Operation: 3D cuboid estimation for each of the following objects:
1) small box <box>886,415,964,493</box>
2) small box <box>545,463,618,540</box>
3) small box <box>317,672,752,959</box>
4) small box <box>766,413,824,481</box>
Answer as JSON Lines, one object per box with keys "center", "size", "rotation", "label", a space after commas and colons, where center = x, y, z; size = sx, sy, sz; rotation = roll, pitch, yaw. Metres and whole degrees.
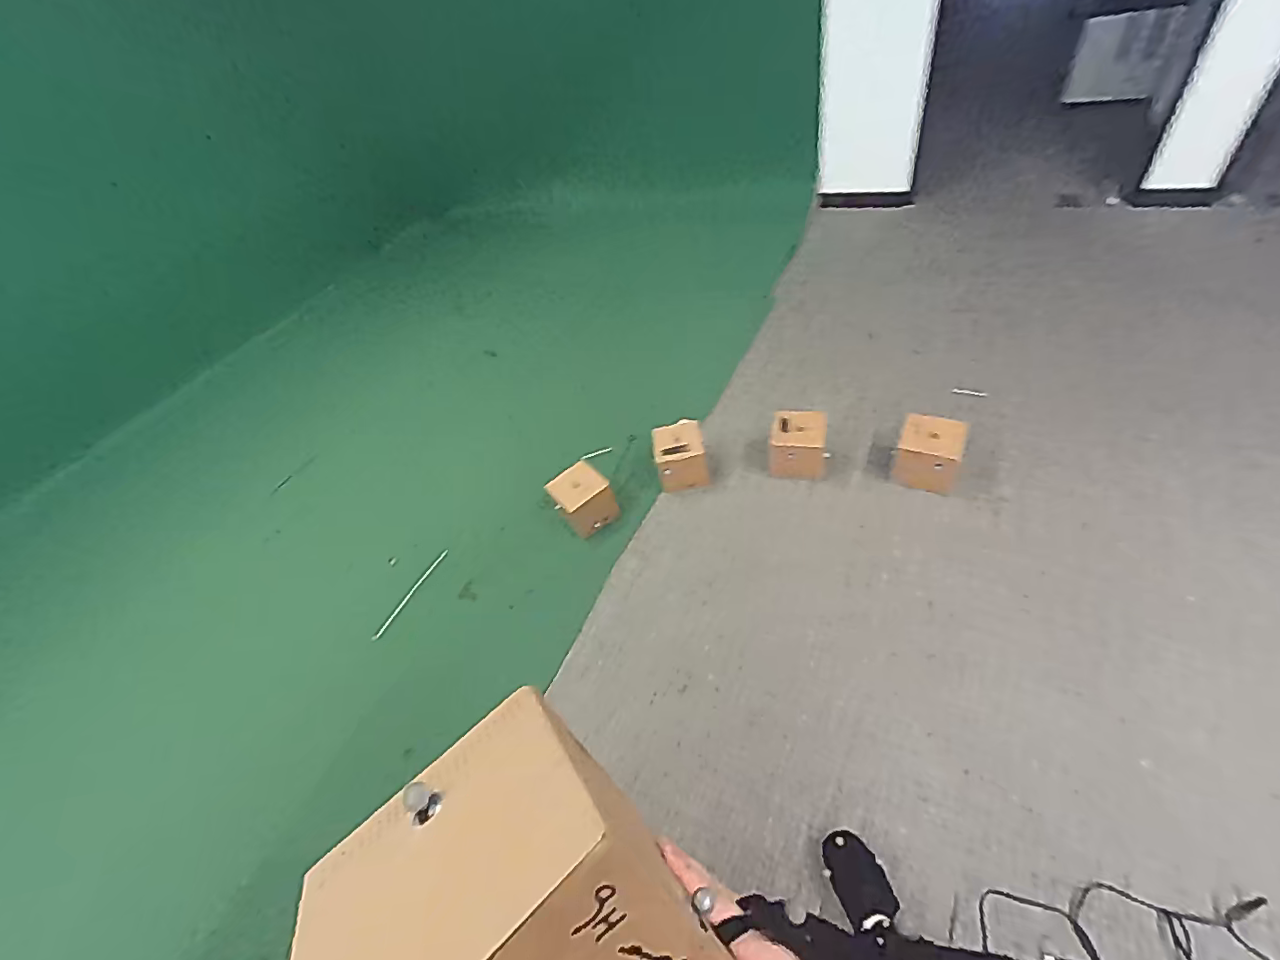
{"center": [0.910, -0.081, 1.735], "size": [0.179, 0.176, 0.168], "rotation": [15, 54, 27], "label": "small box"}
{"center": [-0.205, 0.080, 1.912], "size": [0.168, 0.176, 0.179], "rotation": [-37, 50, -17], "label": "small box"}
{"center": [-0.065, 0.257, 0.327], "size": [0.179, 0.168, 0.176], "rotation": [-37, 19, -16], "label": "small box"}
{"center": [0.537, -0.113, 1.869], "size": [0.179, 0.176, 0.168], "rotation": [5, 51, 19], "label": "small box"}
